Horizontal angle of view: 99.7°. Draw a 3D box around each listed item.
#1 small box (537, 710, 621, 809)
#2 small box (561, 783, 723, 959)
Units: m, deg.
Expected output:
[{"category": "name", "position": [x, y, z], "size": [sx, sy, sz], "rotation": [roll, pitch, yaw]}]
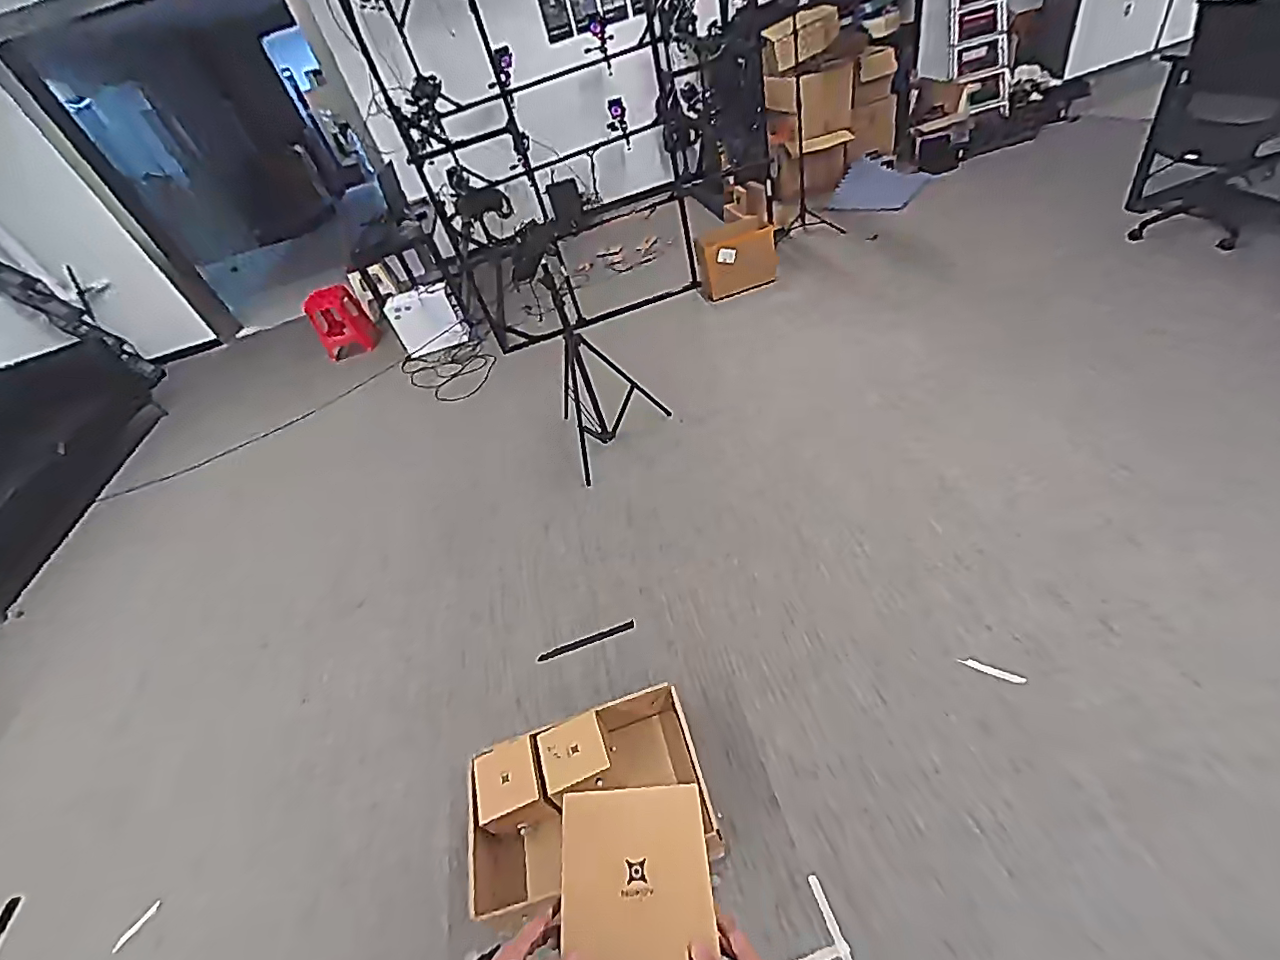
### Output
[{"category": "small box", "position": [-0.162, 0.776, 1.491], "size": [0.179, 0.176, 0.168], "rotation": [-23, 42, -6]}, {"category": "small box", "position": [-0.009, 0.484, 0.645], "size": [0.168, 0.176, 0.179], "rotation": [-1, 48, -6]}]
